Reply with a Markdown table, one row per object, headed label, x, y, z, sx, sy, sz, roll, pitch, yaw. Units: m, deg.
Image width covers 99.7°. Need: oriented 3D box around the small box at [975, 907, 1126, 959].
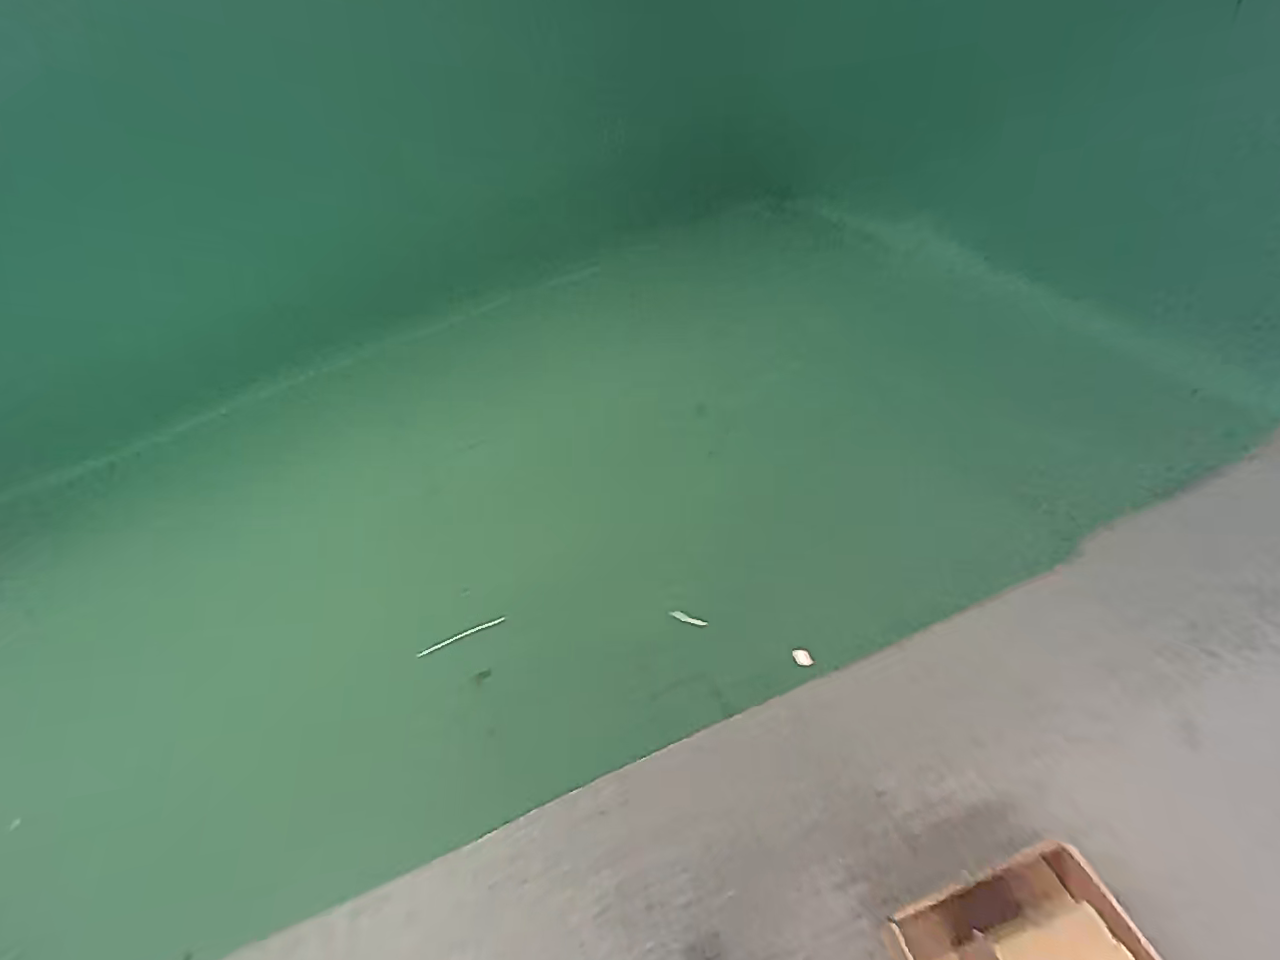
| label | x | y | z | sx | sy | sz | roll | pitch | yaw |
| --- | --- | --- | --- | --- | --- | --- | --- | --- | --- |
| small box | 0.678 | 0.818 | 0.864 | 0.179 | 0.176 | 0.168 | -22 | 46 | -3 |
